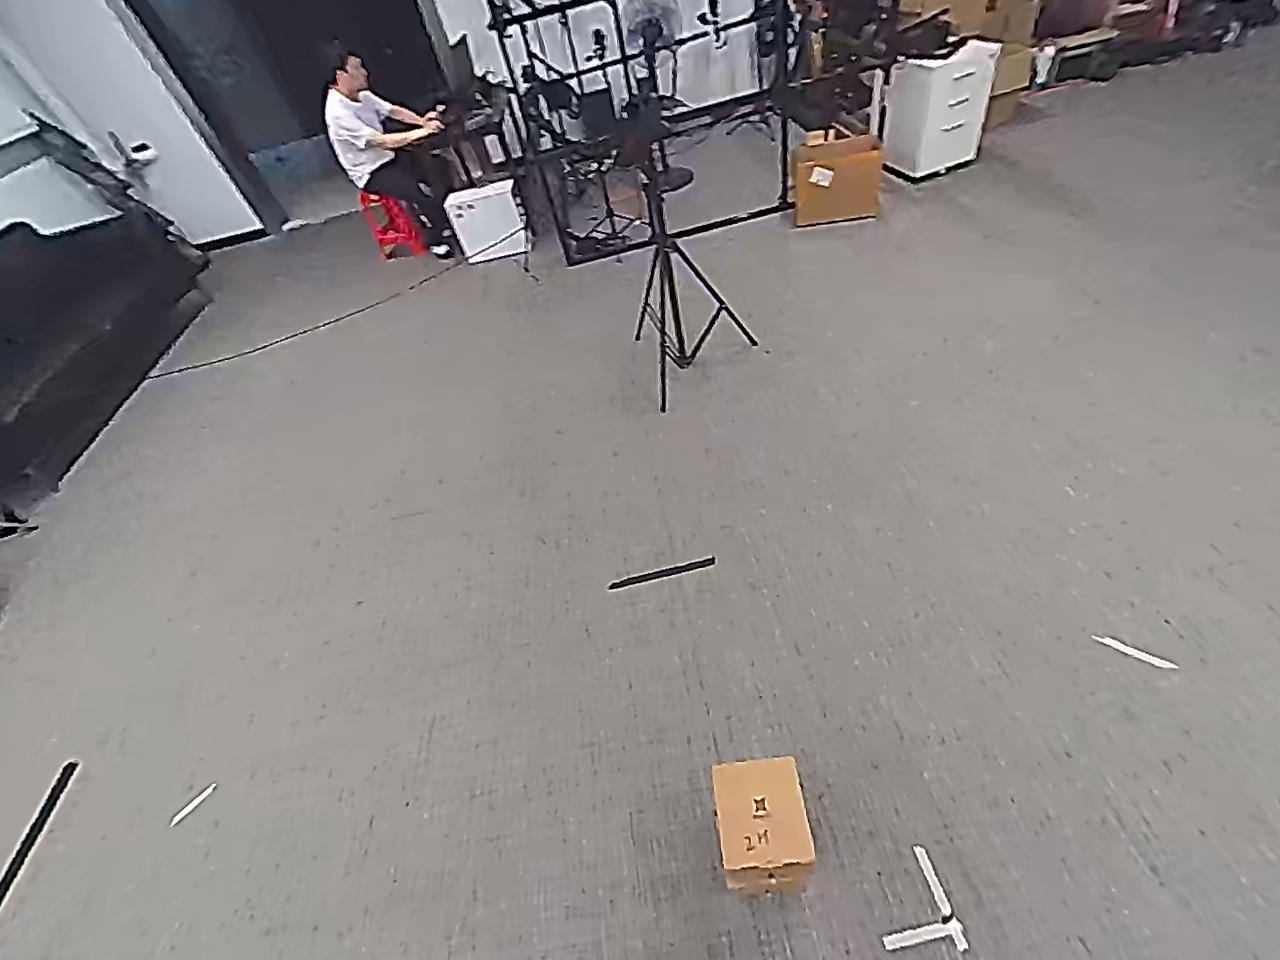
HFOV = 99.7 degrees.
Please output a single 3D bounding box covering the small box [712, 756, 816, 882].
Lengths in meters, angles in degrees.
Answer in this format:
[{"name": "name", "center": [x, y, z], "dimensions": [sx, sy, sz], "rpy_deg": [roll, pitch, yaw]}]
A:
[{"name": "small box", "center": [0.240, 0.672, 1.068], "dimensions": [0.168, 0.176, 0.179], "rpy_deg": [-11, 47, 7]}]
